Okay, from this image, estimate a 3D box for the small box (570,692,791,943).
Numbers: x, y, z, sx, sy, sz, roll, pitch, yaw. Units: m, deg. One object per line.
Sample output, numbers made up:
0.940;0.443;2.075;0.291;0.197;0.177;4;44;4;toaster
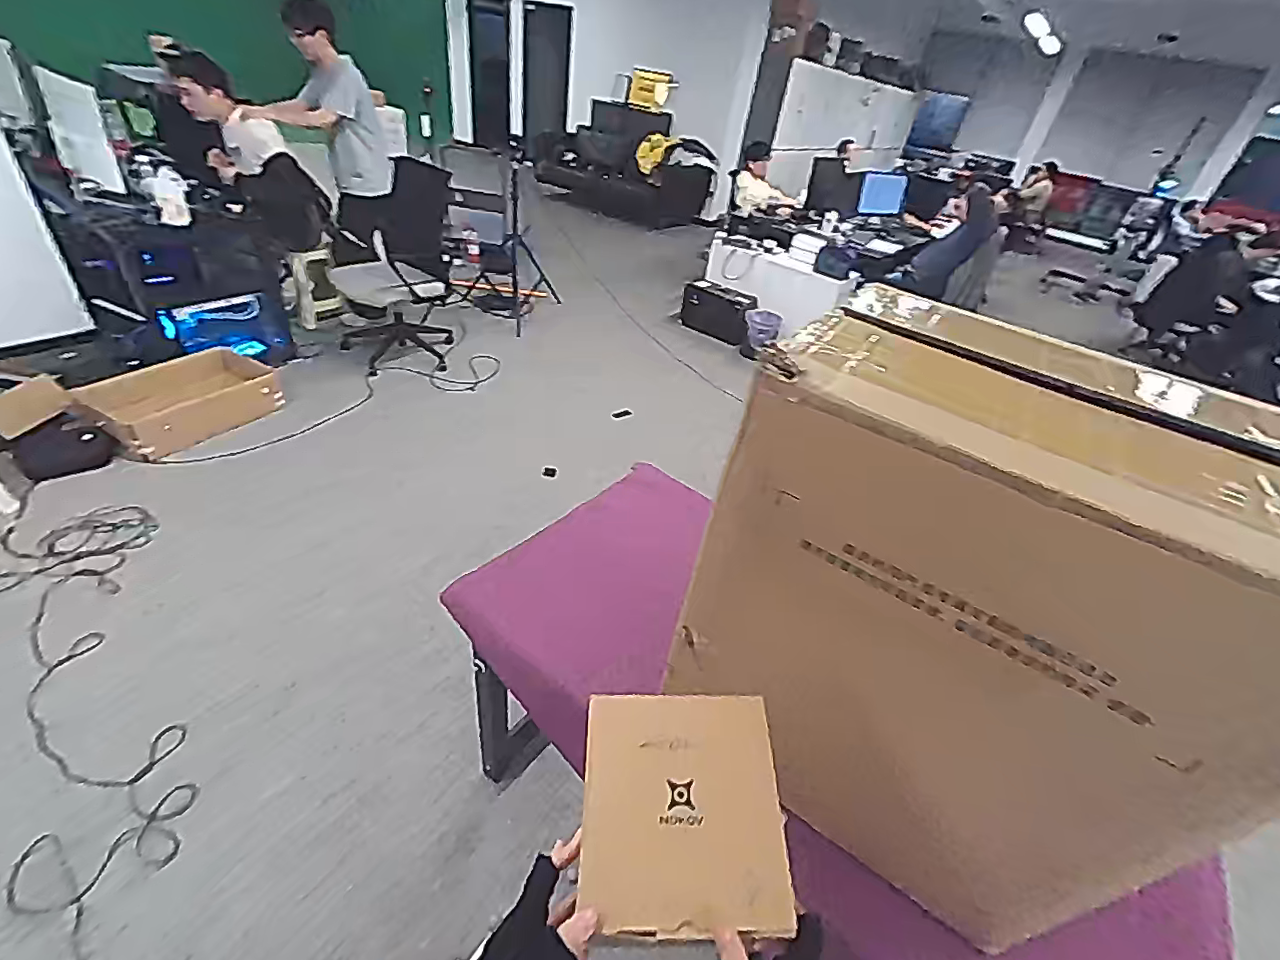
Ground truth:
0.028;0.318;0.508;0.168;0.176;0.179;1;46;-3;small box
